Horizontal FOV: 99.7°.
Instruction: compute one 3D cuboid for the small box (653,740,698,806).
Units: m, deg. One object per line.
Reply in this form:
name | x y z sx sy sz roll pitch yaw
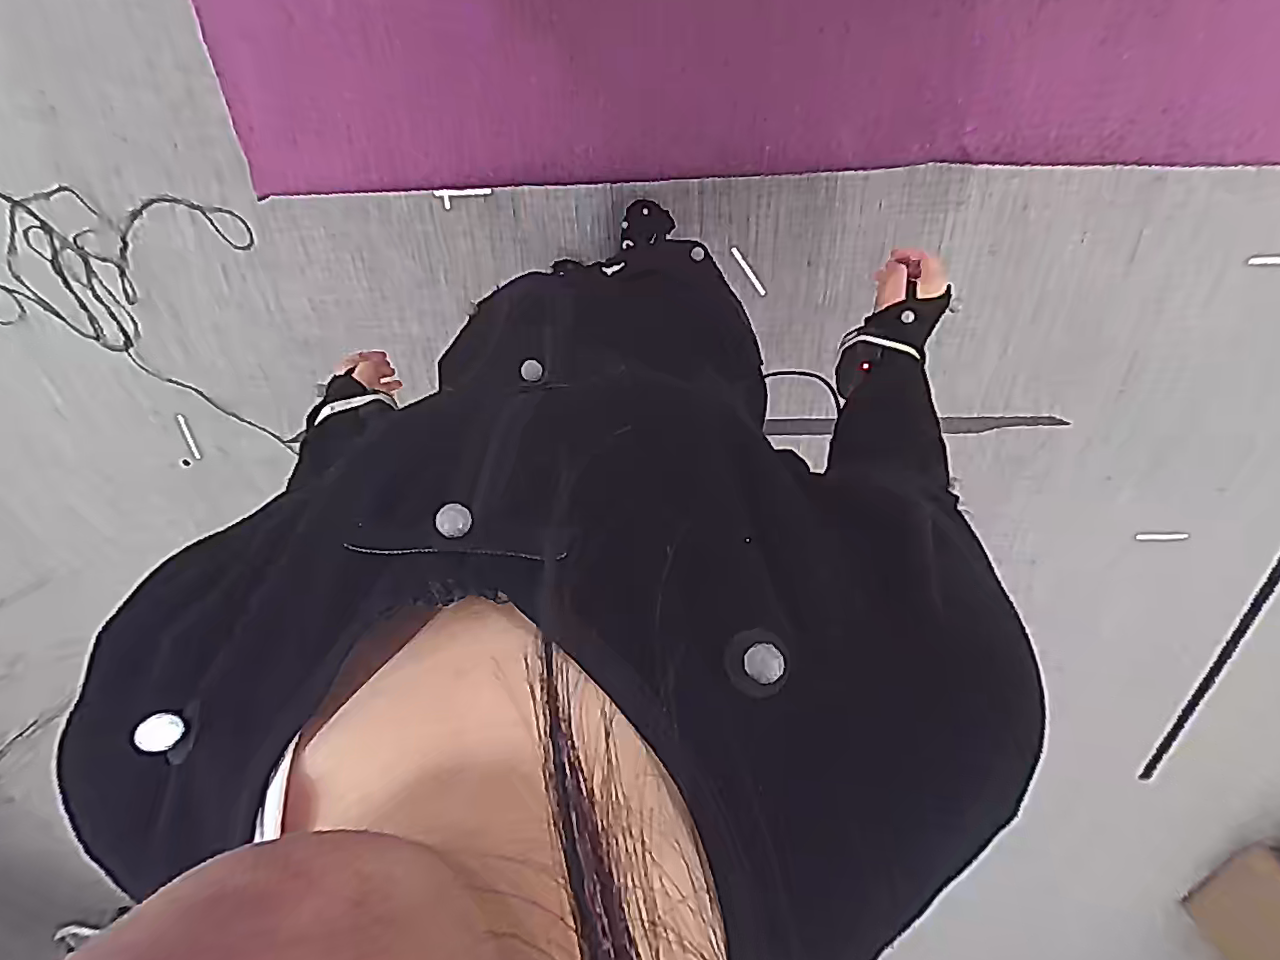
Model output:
small box | 0.138 1.142 2.117 0.168 0.176 0.179 -4 118 4
